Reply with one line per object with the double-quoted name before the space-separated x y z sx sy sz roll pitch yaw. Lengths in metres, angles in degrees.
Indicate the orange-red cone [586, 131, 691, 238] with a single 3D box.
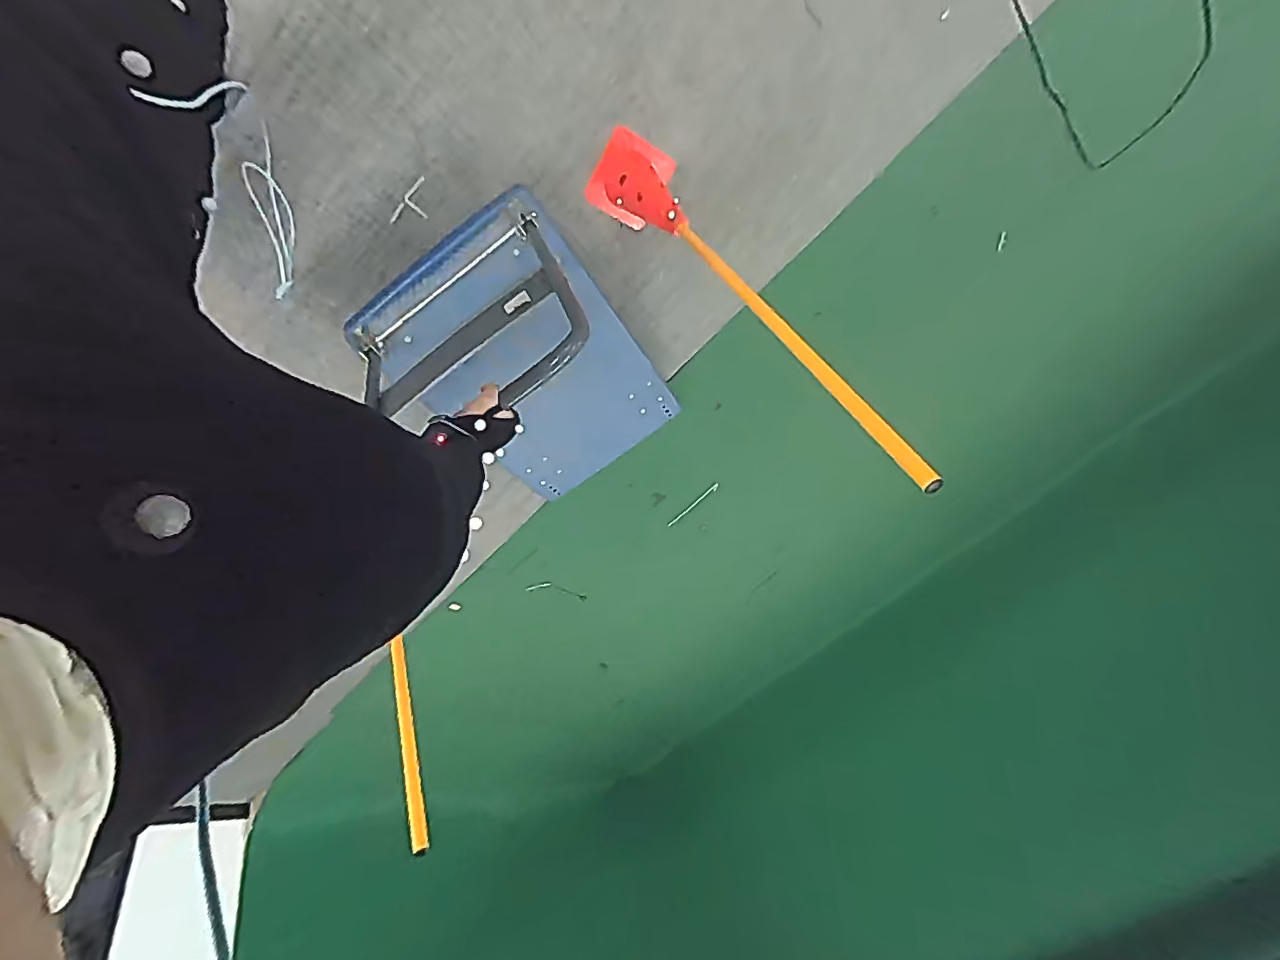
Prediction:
"orange-red cone" 0.034 -0.686 1.341 0.198 0.360 0.199 13 124 -38
